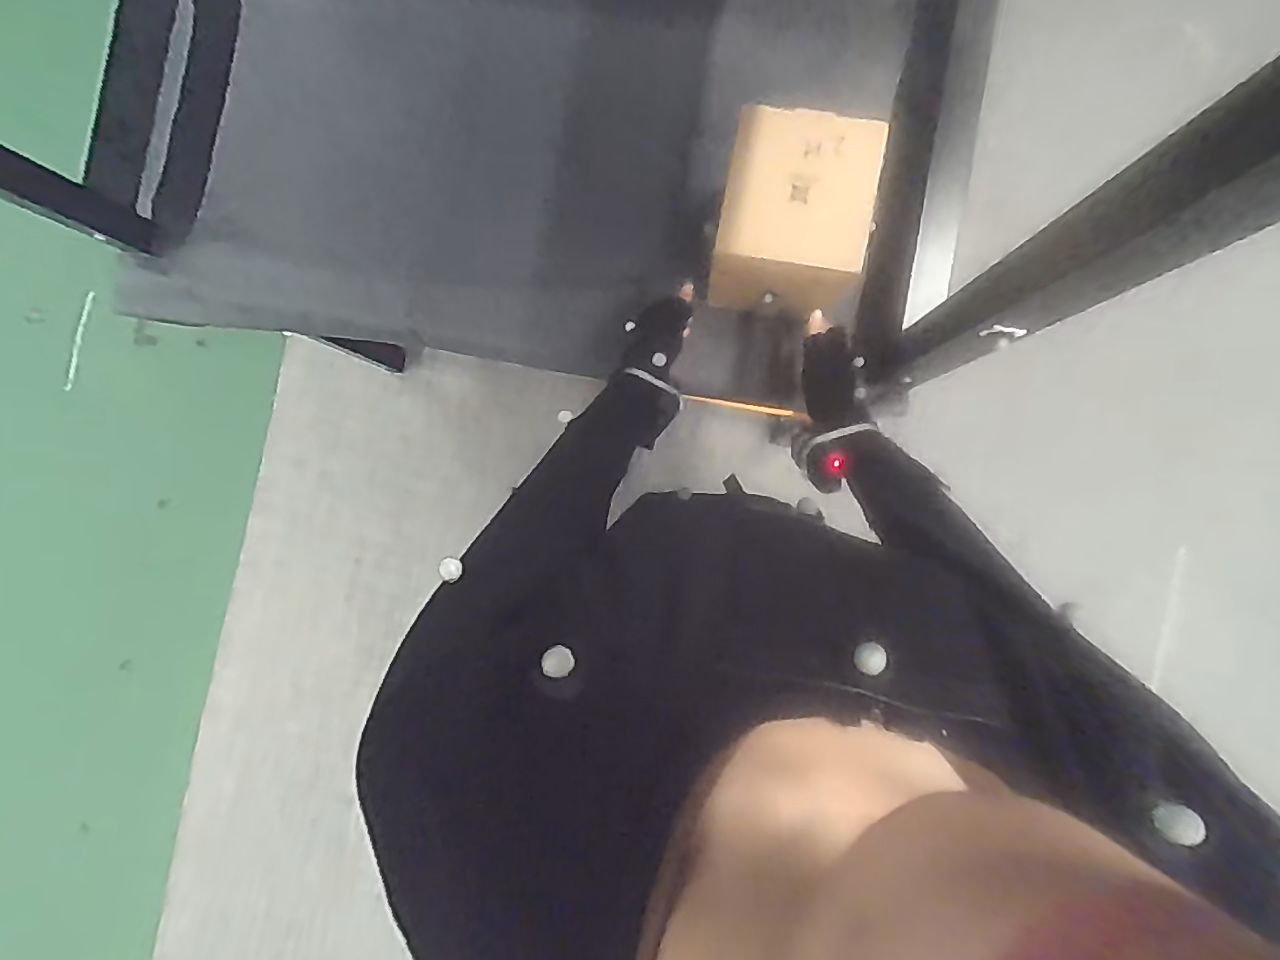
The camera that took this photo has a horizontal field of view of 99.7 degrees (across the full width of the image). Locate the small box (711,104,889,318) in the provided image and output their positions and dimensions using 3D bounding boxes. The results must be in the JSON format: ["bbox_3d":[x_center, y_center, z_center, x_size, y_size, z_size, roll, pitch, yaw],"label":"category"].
[{"bbox_3d":[0.187,-0.323,0.684,0.168,0.176,0.179,11,88,4],"label":"small box"}]
